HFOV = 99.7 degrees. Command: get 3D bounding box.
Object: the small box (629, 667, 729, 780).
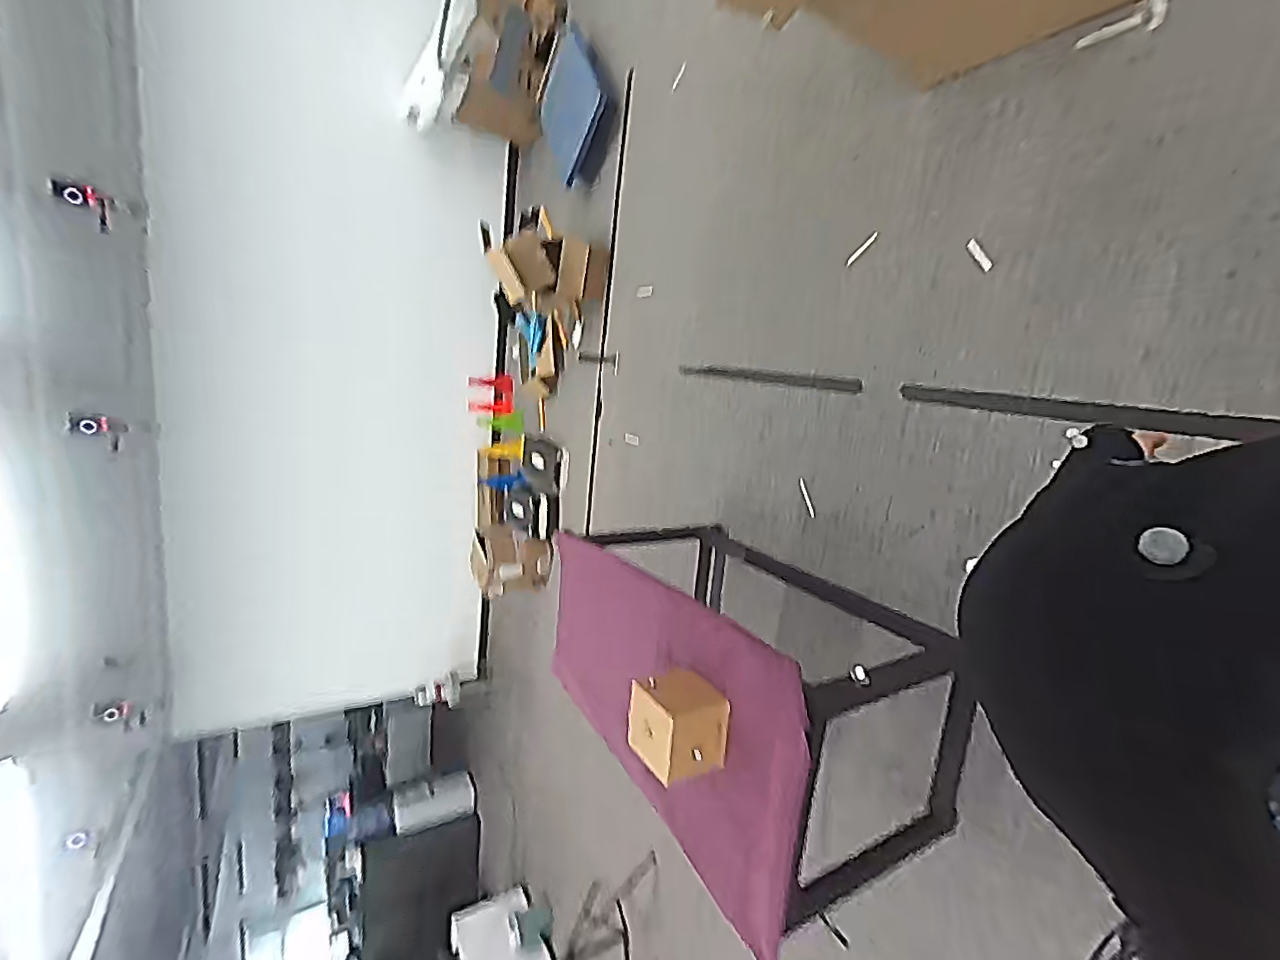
[{"bbox_3d":[0.093,0.565,1.288,0.179,0.176,0.168,18,105,58],"label":"small box"}]
